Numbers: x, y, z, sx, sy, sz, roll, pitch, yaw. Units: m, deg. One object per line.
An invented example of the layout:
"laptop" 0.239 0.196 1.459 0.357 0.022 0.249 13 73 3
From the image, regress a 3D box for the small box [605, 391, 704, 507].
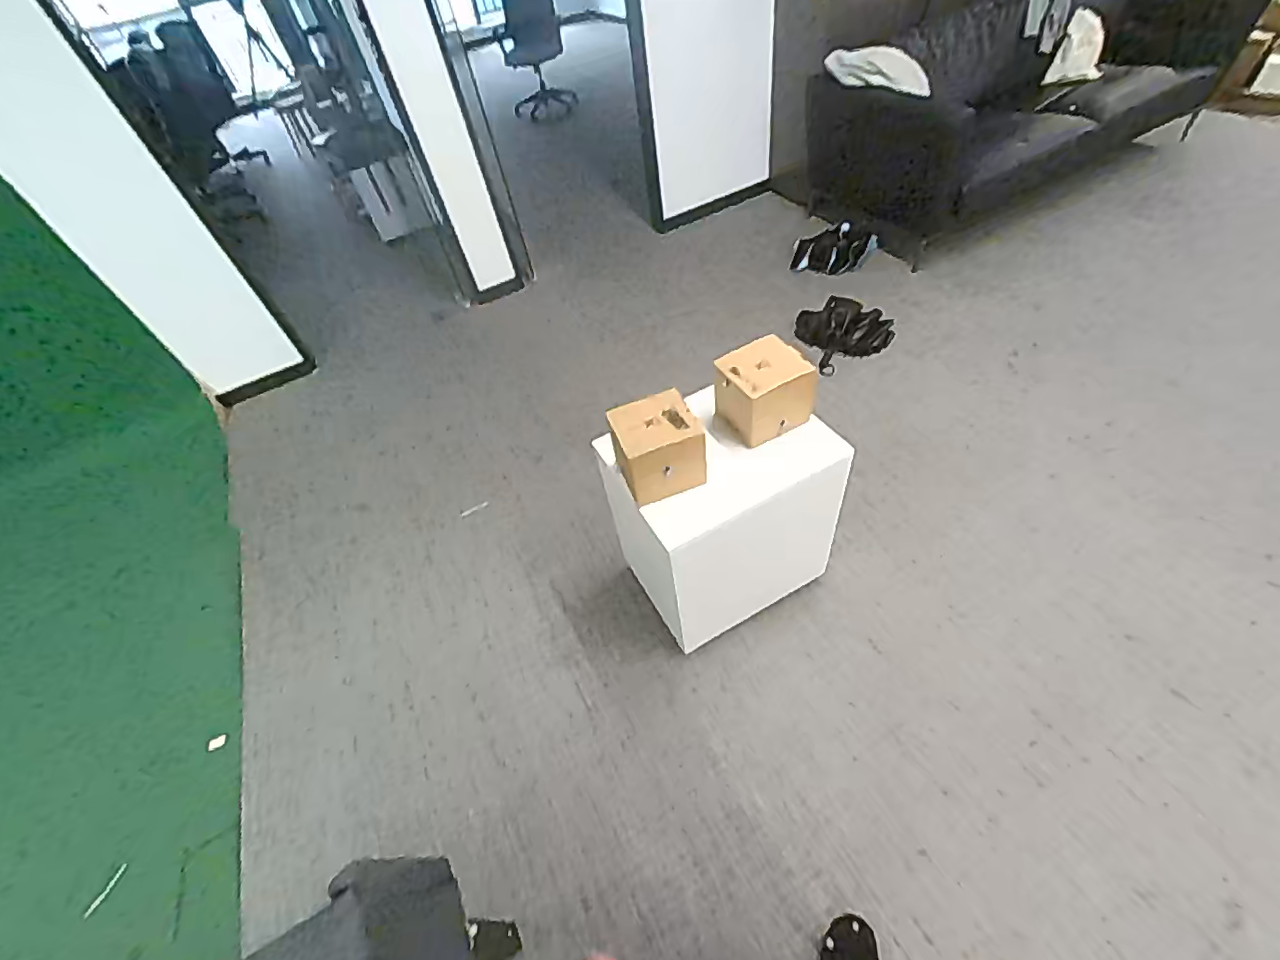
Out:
"small box" 0.034 -0.067 1.222 0.179 0.176 0.168 -19 49 -9

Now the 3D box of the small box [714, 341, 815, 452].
"small box" 0.291 -0.200 1.304 0.179 0.176 0.168 -24 50 -13
